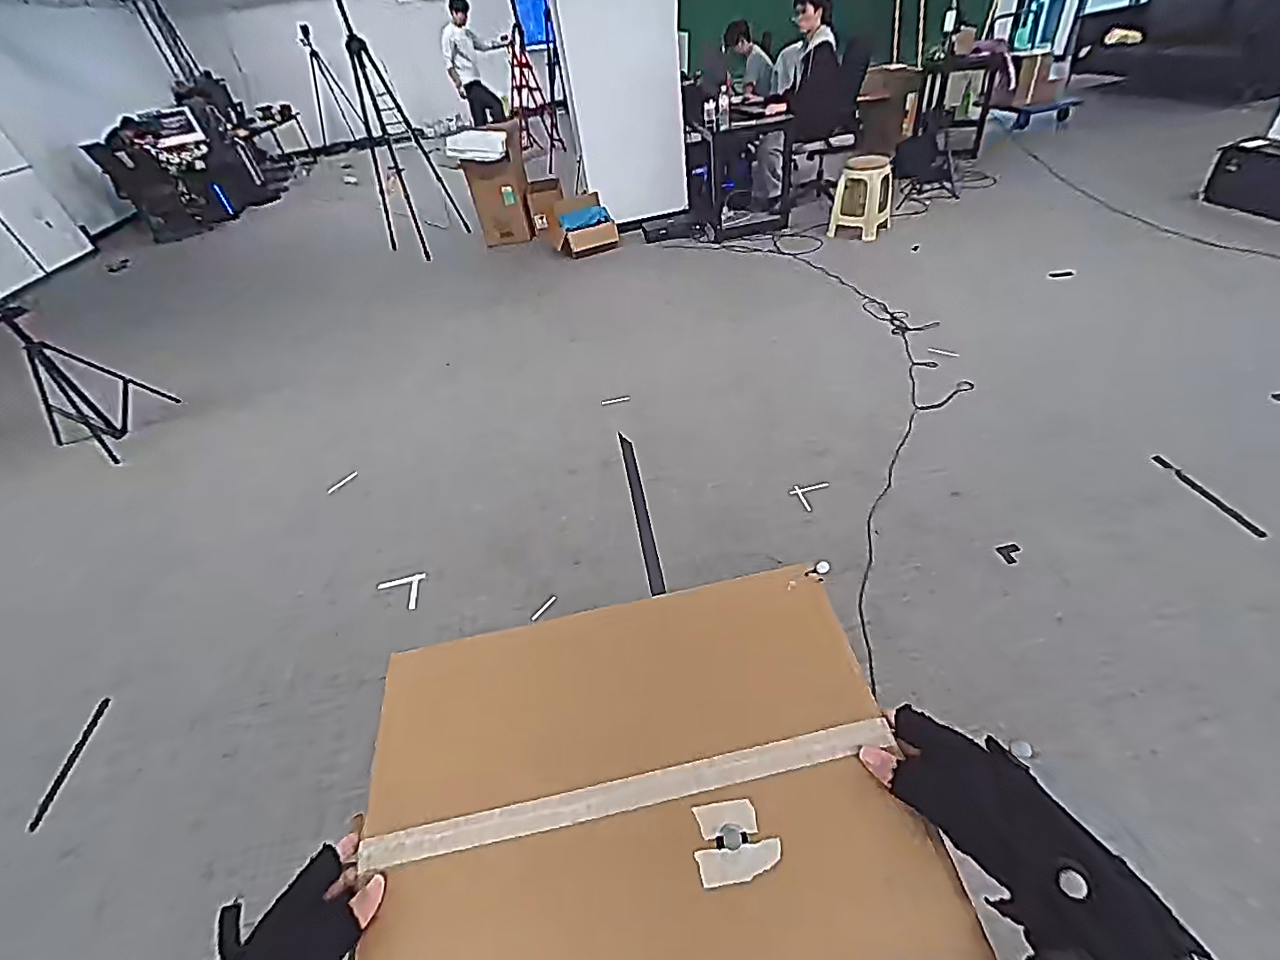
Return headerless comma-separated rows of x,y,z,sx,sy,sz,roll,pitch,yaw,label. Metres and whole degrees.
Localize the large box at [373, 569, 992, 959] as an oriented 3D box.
0.014,0.338,0.529,0.408,0.320,0.320,-12,49,-2,large box
